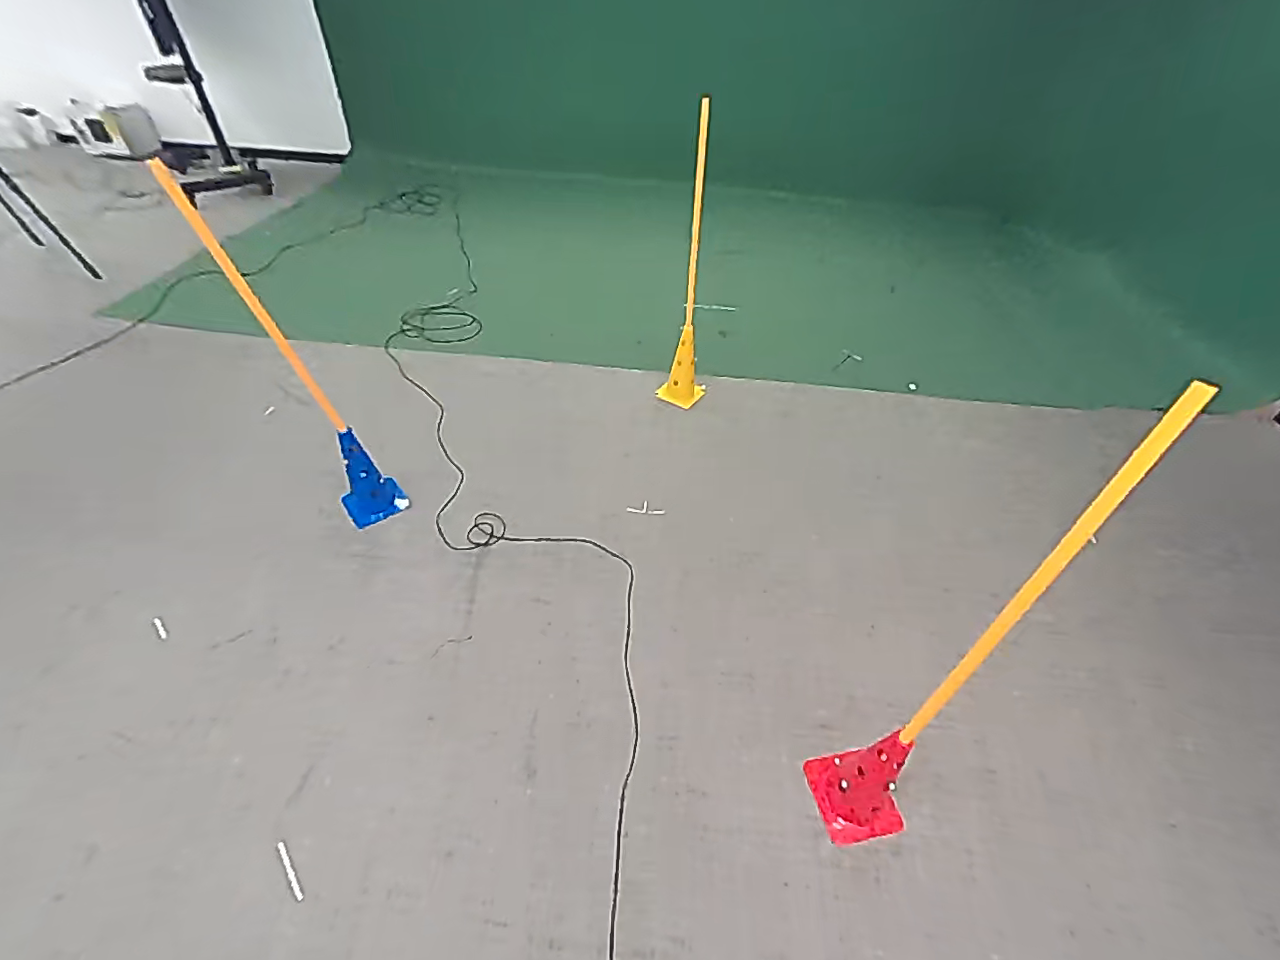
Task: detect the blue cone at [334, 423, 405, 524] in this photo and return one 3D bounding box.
[{"bbox_3d":[-0.989,-0.039,1.903,0.193,0.380,0.192,-30,54,-28],"label":"blue cone"}]
